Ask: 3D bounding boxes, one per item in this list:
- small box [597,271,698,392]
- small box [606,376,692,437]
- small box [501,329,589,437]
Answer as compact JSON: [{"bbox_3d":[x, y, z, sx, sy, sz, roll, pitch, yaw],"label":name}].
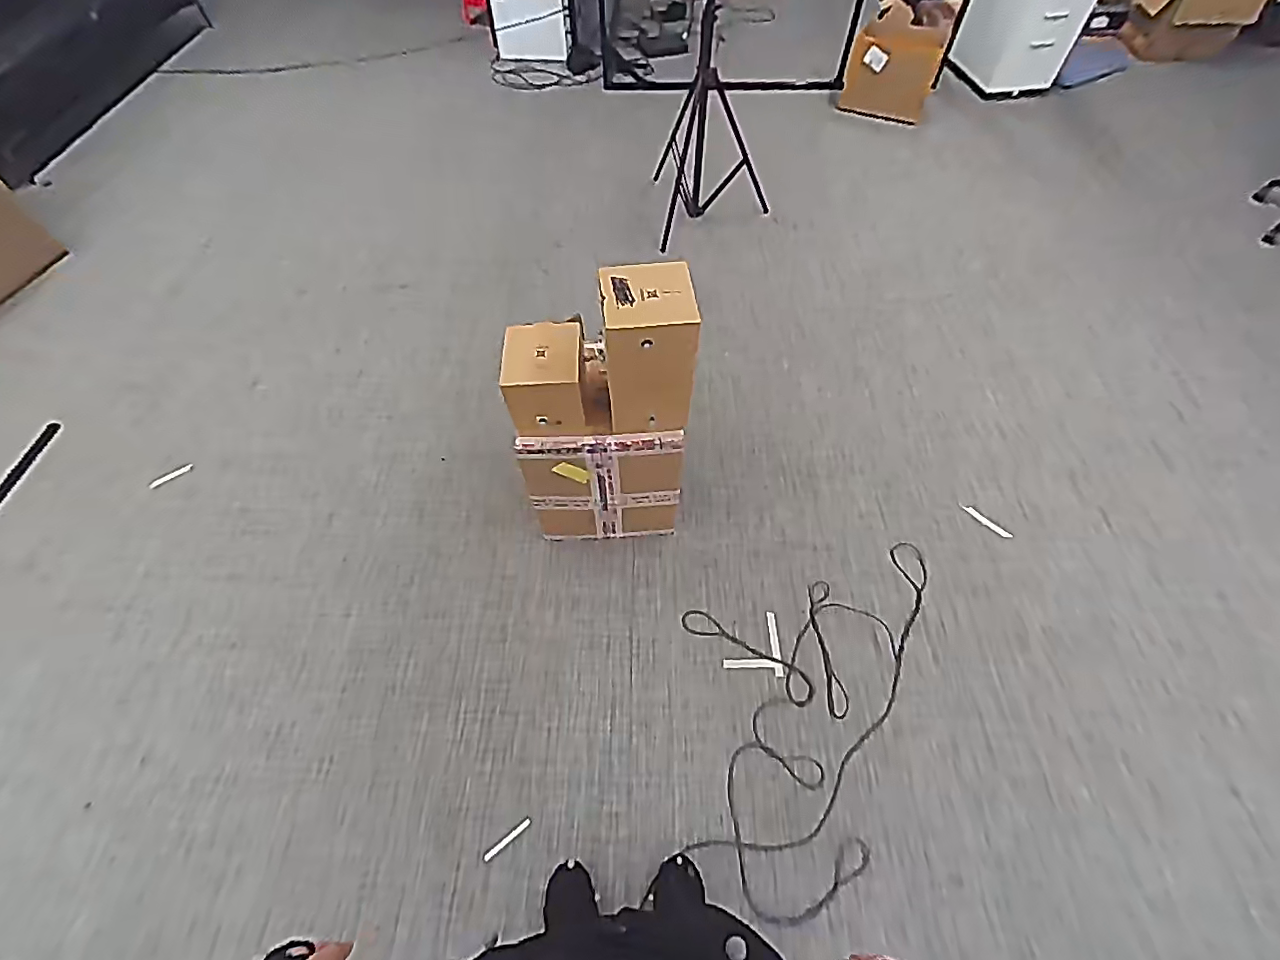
[{"bbox_3d":[0.012,-0.292,1.085,0.179,0.176,0.168,-6,61,-4],"label":"small box"},{"bbox_3d":[0.013,-0.214,1.230,0.179,0.176,0.168,-6,60,-4],"label":"small box"},{"bbox_3d":[-0.210,-0.218,1.234,0.168,0.176,0.179,-4,61,0],"label":"small box"}]
